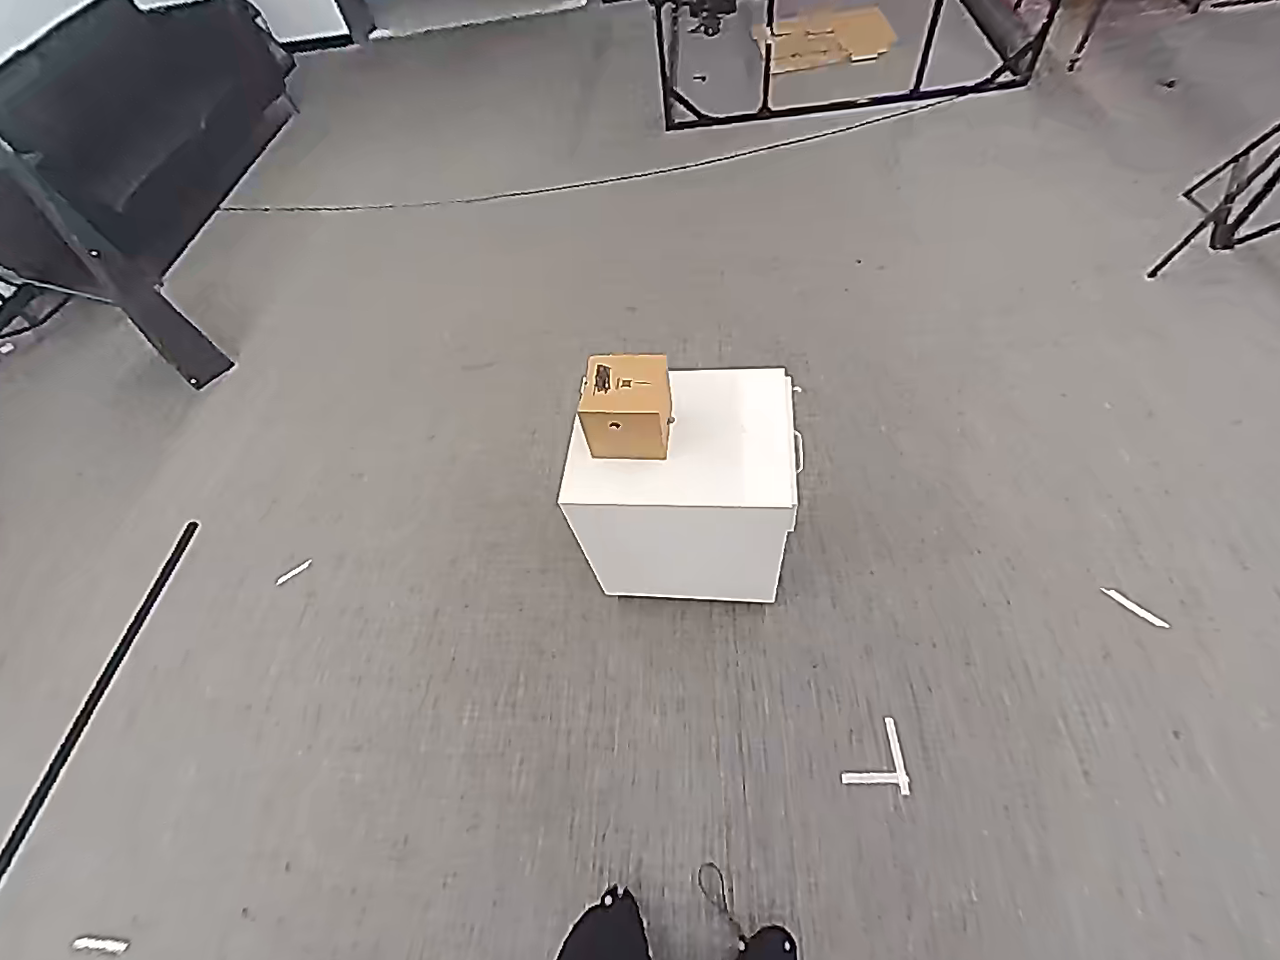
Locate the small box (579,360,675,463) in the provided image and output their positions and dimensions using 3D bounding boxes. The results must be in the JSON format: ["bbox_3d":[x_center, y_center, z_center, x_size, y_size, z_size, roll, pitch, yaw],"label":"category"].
[{"bbox_3d":[-0.021,-0.152,1.218,0.179,0.176,0.168,3,57,10],"label":"small box"}]
